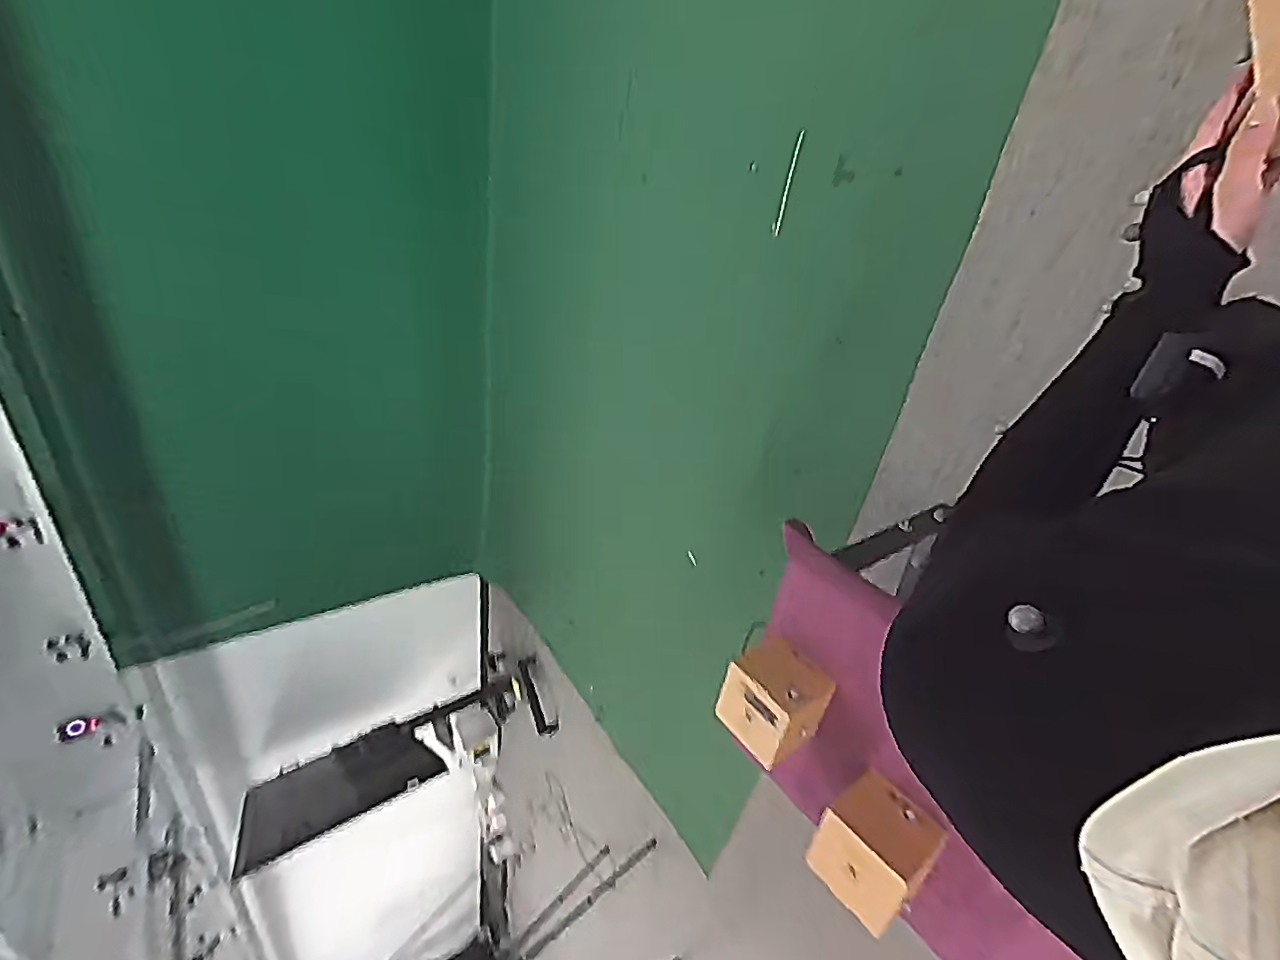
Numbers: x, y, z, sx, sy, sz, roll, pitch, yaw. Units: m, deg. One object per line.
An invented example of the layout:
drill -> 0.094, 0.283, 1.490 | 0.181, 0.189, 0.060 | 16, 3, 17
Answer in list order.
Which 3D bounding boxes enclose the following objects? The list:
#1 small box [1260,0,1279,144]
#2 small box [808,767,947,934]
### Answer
small box -> 0.559, -0.357, 0.370 | 0.168, 0.176, 0.179 | -2, 103, 53
small box -> 0.465, 0.714, 1.059 | 0.168, 0.176, 0.179 | 33, 125, 42
